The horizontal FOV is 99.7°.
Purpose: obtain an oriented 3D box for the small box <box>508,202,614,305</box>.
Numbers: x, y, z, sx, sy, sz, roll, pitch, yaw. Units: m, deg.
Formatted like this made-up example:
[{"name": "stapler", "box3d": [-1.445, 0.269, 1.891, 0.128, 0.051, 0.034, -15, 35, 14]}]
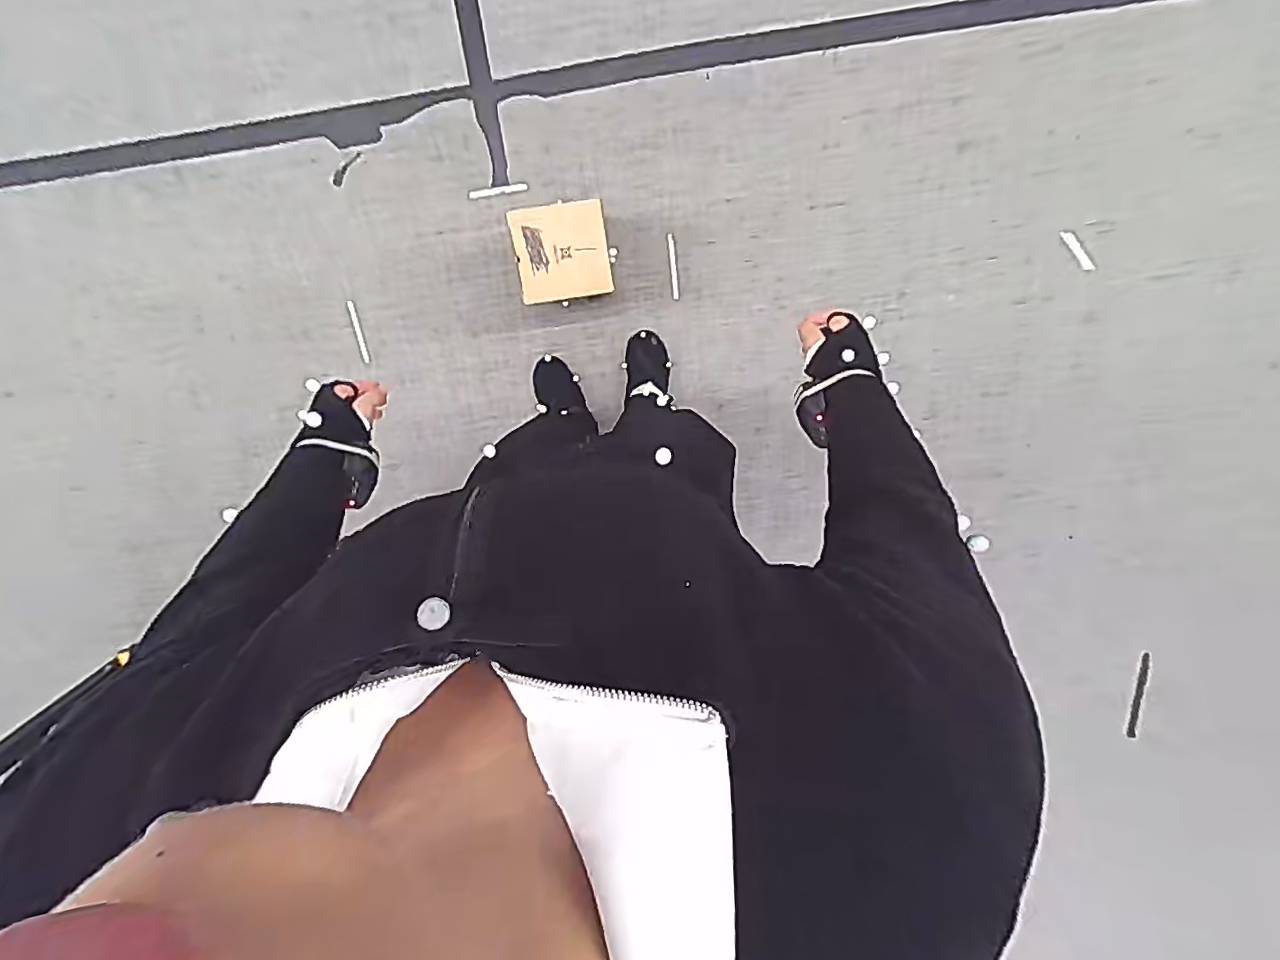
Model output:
[{"name": "small box", "box3d": [-0.149, -0.446, 1.086, 0.179, 0.176, 0.168, -8, 110, 0]}]
